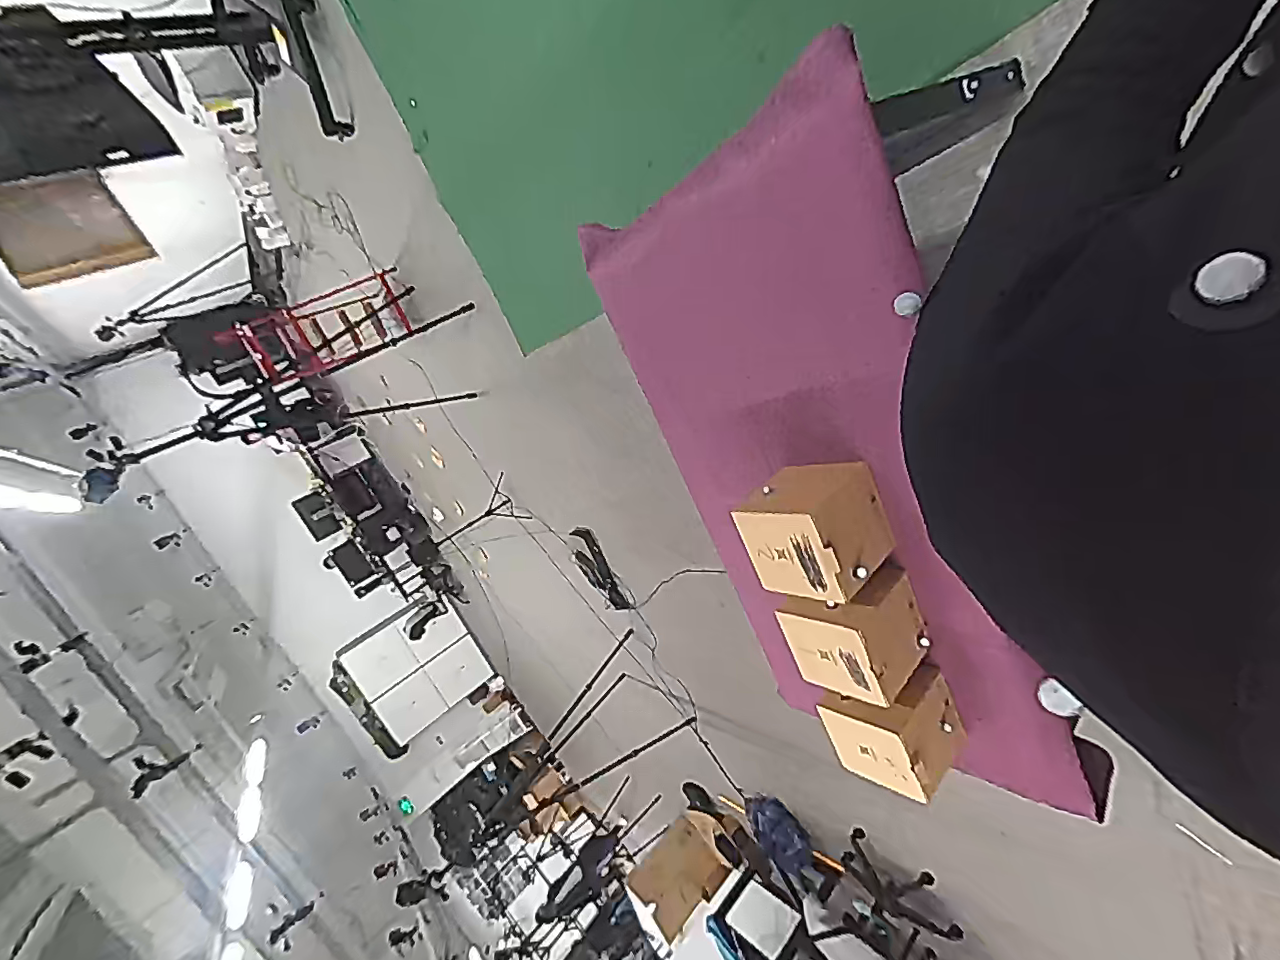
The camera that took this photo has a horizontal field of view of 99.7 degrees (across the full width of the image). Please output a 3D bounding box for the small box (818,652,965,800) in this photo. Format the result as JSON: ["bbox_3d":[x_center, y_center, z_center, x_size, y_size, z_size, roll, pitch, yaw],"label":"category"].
[{"bbox_3d":[0.483,0.457,1.039,0.179,0.176,0.168,-5,115,56],"label":"small box"}]
